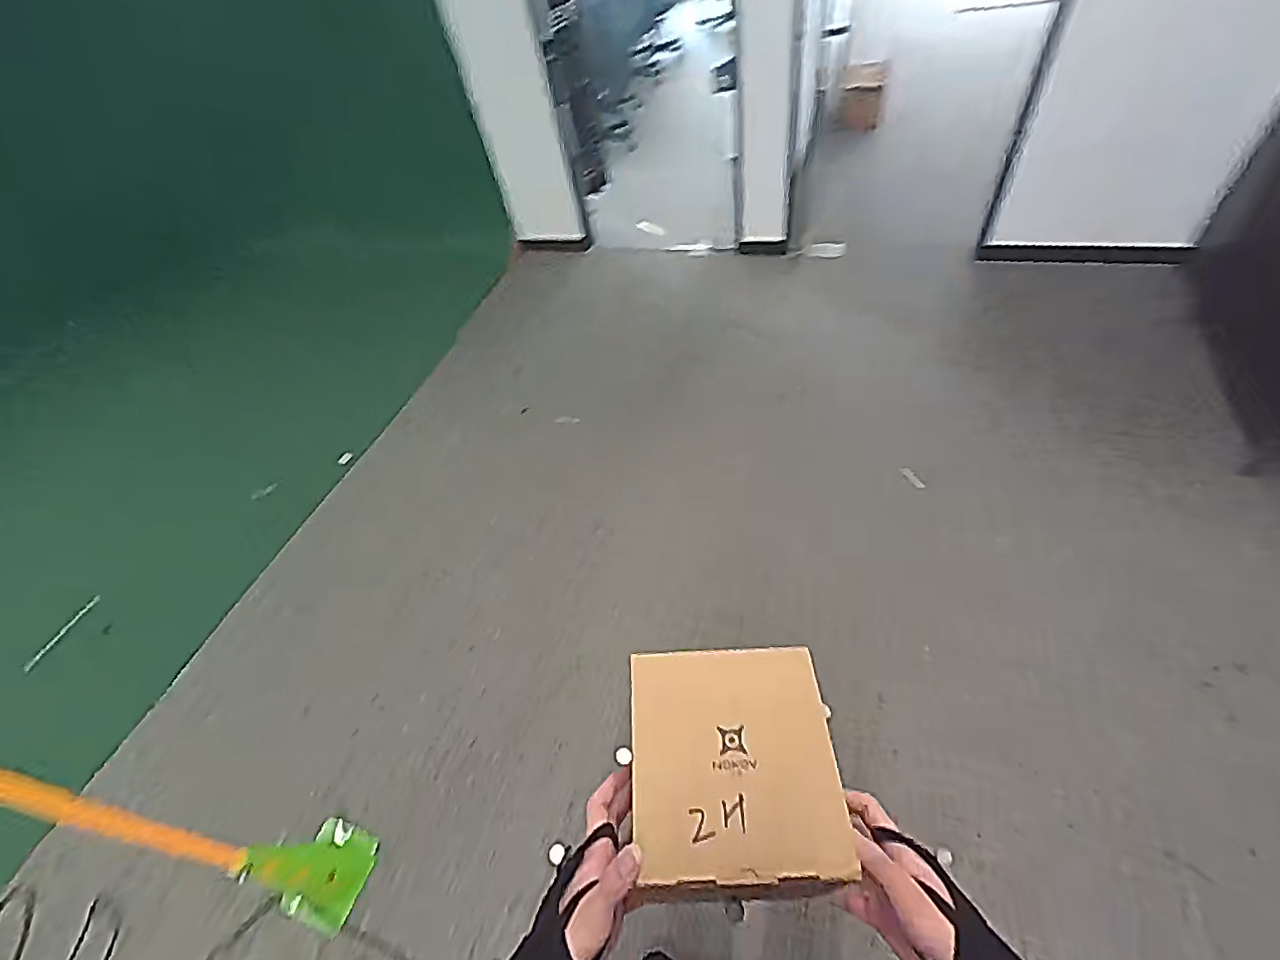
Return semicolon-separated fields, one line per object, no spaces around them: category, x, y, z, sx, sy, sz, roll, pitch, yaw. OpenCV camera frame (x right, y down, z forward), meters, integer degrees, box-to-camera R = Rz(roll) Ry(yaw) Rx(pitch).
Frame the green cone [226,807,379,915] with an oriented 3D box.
green cone;-0.848;0.904;1.308;0.200;0.368;0.202;10;55;19

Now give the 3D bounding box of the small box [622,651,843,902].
small box;0.069;0.280;0.511;0.168;0.176;0.179;-3;50;1
